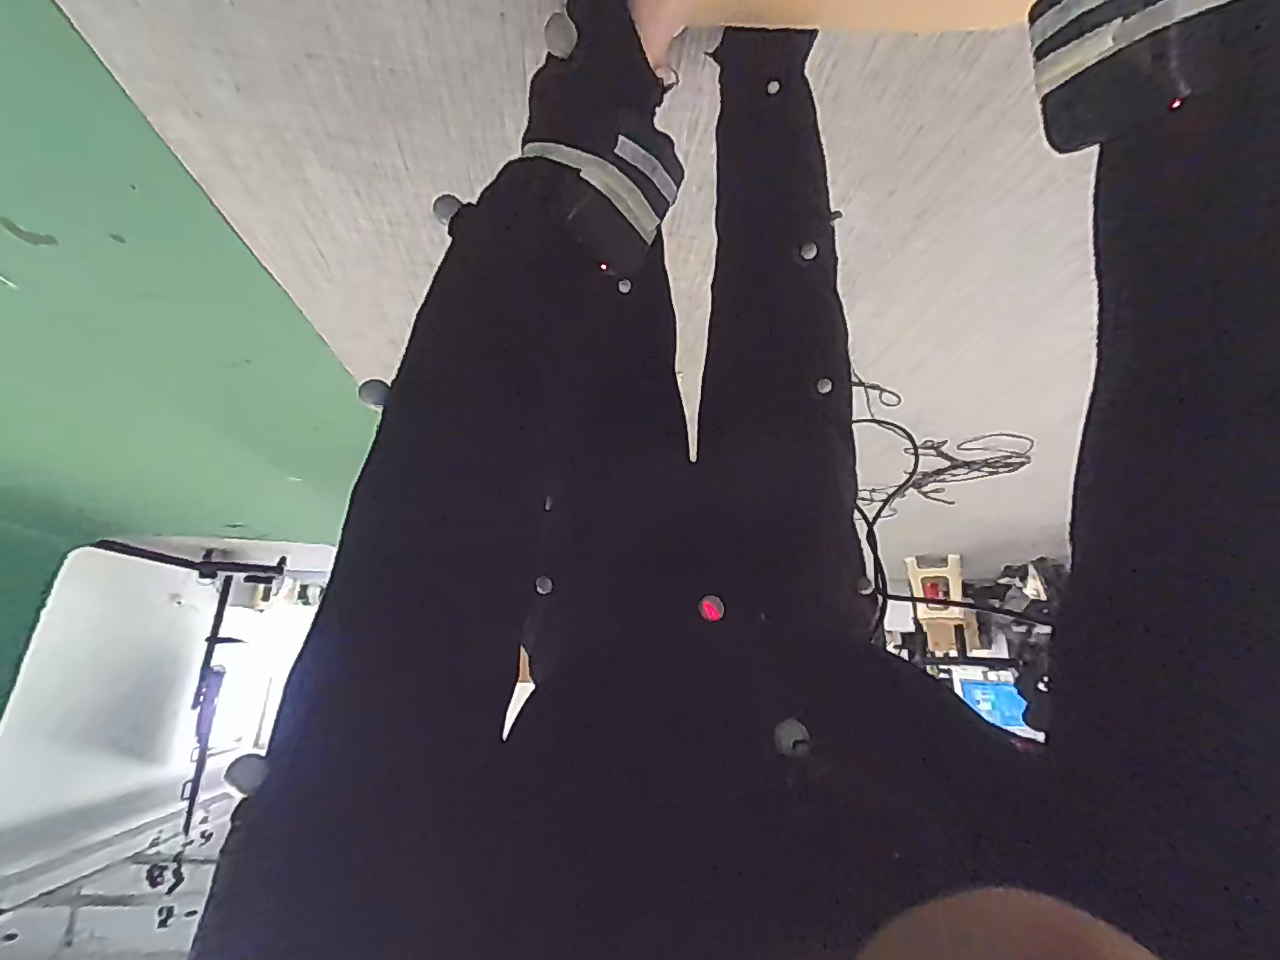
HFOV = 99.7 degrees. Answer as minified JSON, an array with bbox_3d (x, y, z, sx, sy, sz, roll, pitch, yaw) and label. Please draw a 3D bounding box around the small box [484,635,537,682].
[{"bbox_3d":[-0.504,0.701,2.130,0.179,0.176,0.168,5,161,-7],"label":"small box"}]
